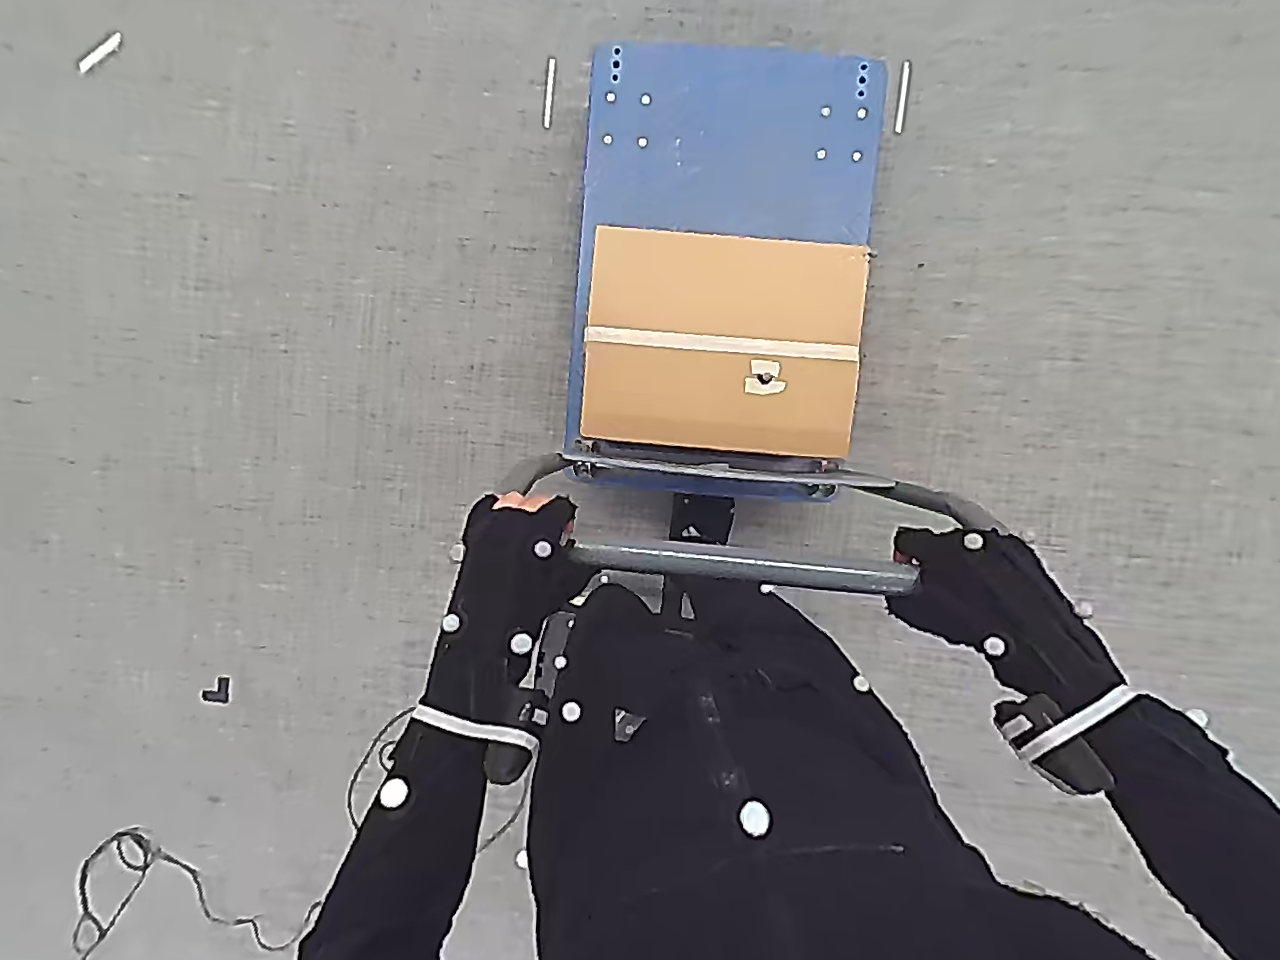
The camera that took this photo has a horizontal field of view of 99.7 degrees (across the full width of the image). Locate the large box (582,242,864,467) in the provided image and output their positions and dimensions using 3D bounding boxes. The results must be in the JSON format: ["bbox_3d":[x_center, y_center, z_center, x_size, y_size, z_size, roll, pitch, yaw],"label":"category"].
[{"bbox_3d":[0.120,-0.192,0.945,0.408,0.320,0.320,5,94,1],"label":"large box"}]
